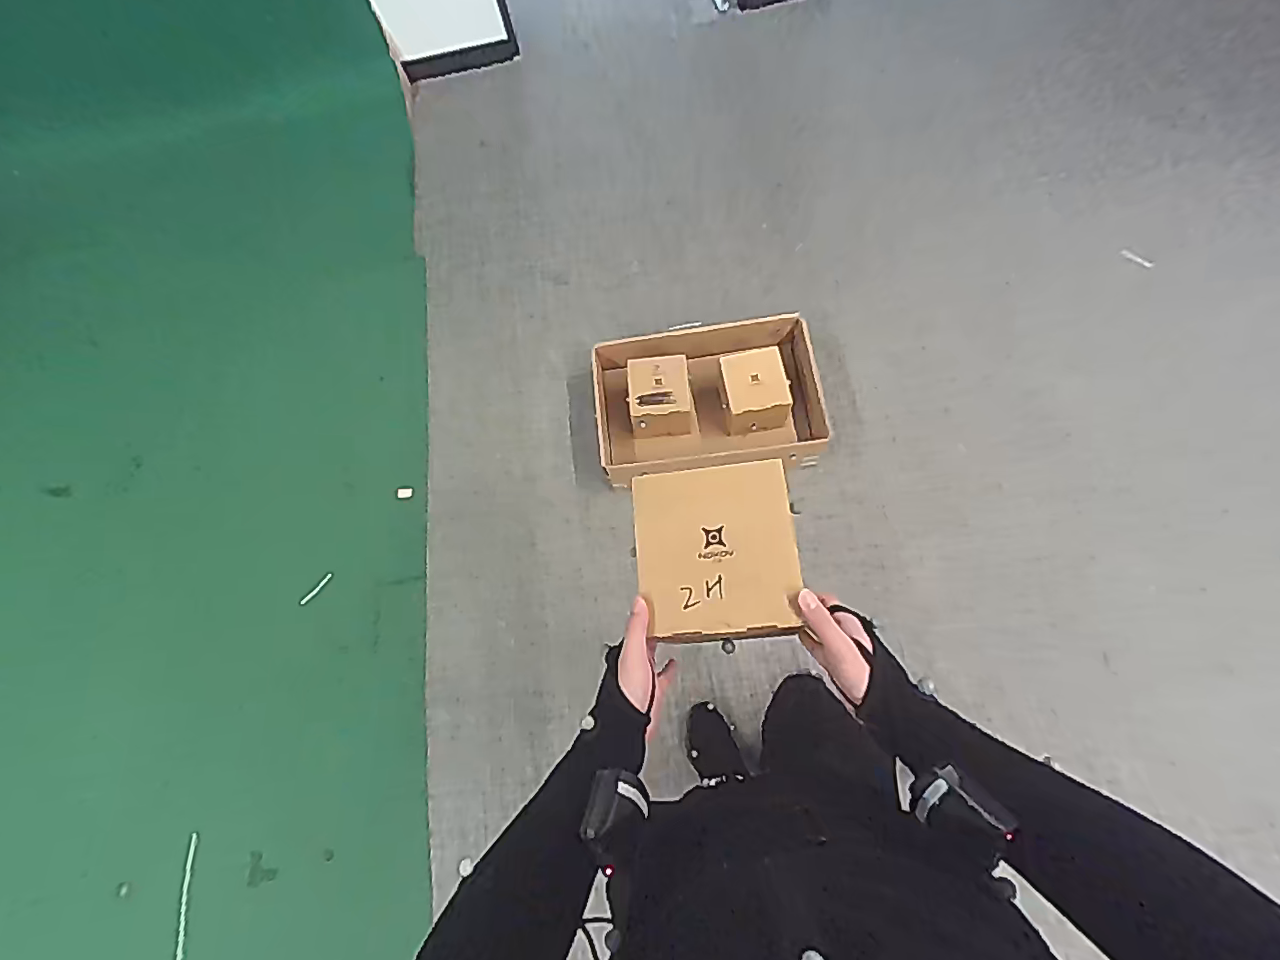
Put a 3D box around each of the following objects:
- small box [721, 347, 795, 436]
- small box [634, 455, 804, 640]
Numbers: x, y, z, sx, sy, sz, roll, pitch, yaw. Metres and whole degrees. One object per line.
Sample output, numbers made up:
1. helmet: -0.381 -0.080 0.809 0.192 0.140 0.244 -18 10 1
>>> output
1. small box: 0.326 -0.246 1.532 0.168 0.176 0.179 -11 72 3
2. small box: 0.091 0.089 0.636 0.168 0.176 0.179 -7 69 10
